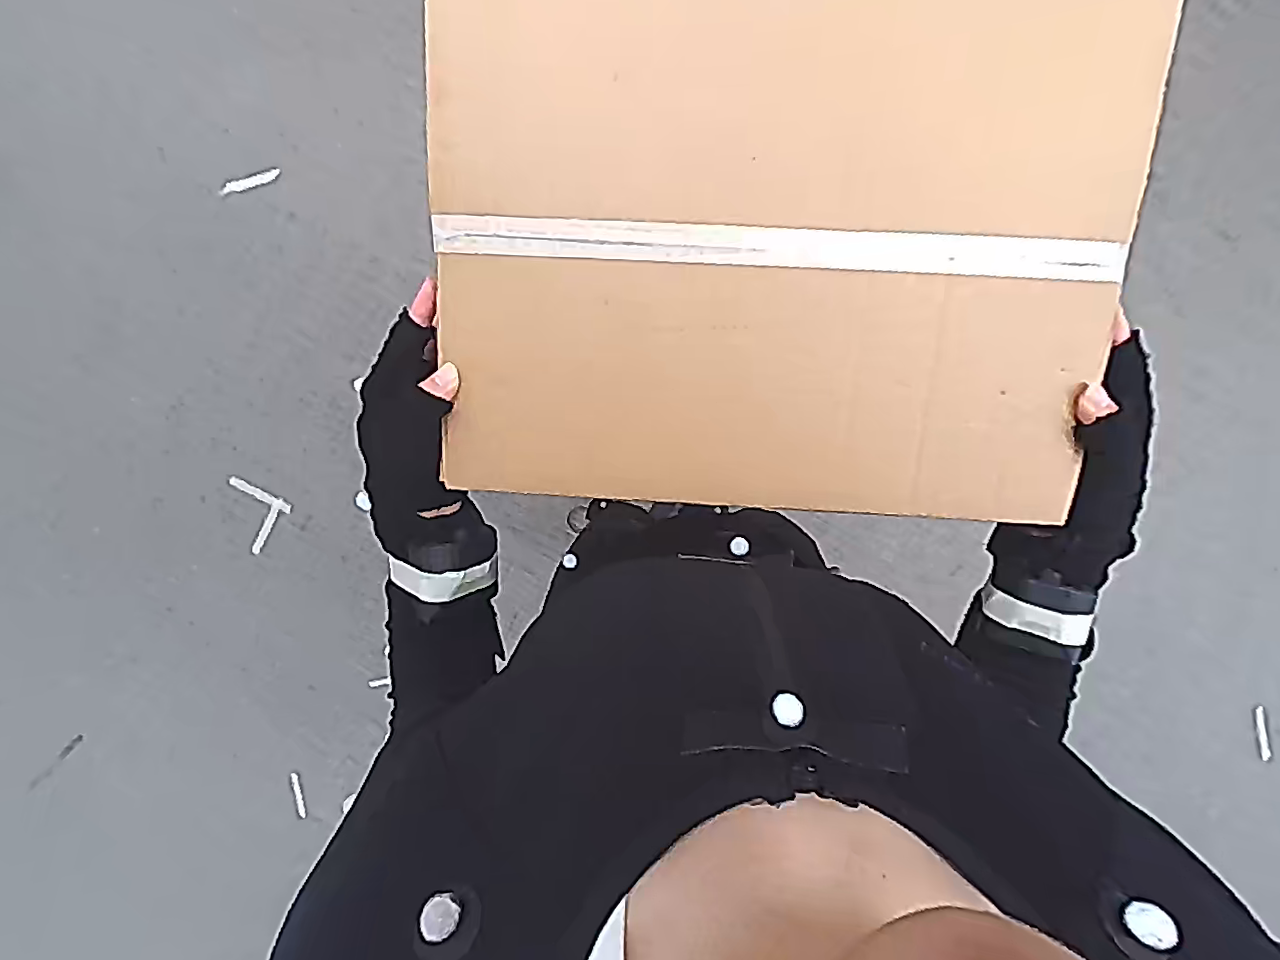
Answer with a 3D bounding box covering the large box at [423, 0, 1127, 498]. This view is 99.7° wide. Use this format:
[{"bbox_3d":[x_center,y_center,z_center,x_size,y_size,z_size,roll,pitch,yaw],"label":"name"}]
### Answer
[{"bbox_3d":[0.073,-0.173,0.478,0.408,0.320,0.320,2,103,1],"label":"large box"}]
